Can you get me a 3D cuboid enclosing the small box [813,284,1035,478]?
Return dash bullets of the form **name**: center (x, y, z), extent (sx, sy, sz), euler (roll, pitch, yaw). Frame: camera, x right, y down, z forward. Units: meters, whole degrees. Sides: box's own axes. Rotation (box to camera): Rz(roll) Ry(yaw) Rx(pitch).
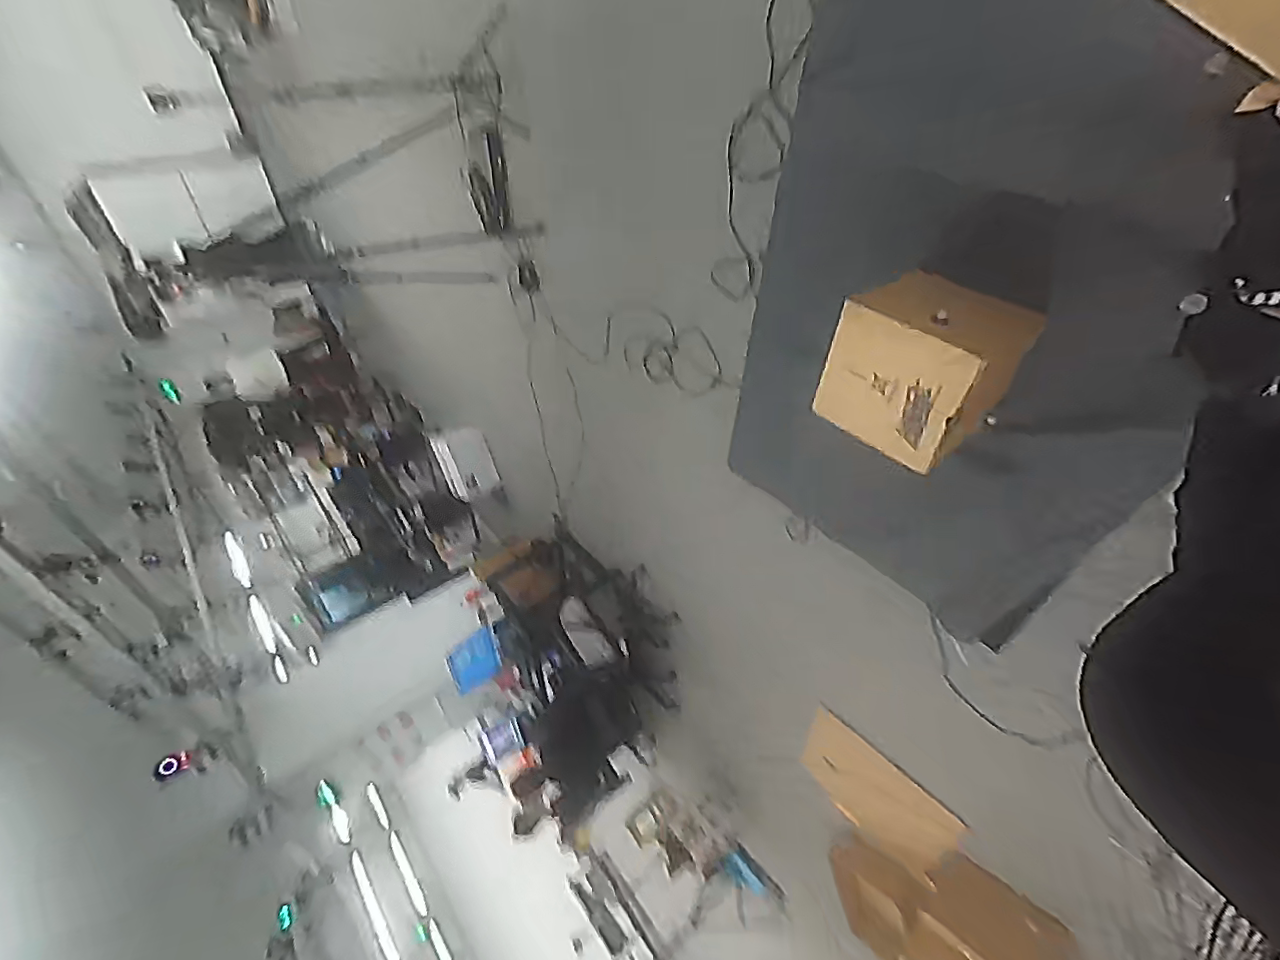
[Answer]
- **small box**: center (0.366, -0.139, 0.709), extent (0.179, 0.176, 0.168), euler (40, 143, 34)
